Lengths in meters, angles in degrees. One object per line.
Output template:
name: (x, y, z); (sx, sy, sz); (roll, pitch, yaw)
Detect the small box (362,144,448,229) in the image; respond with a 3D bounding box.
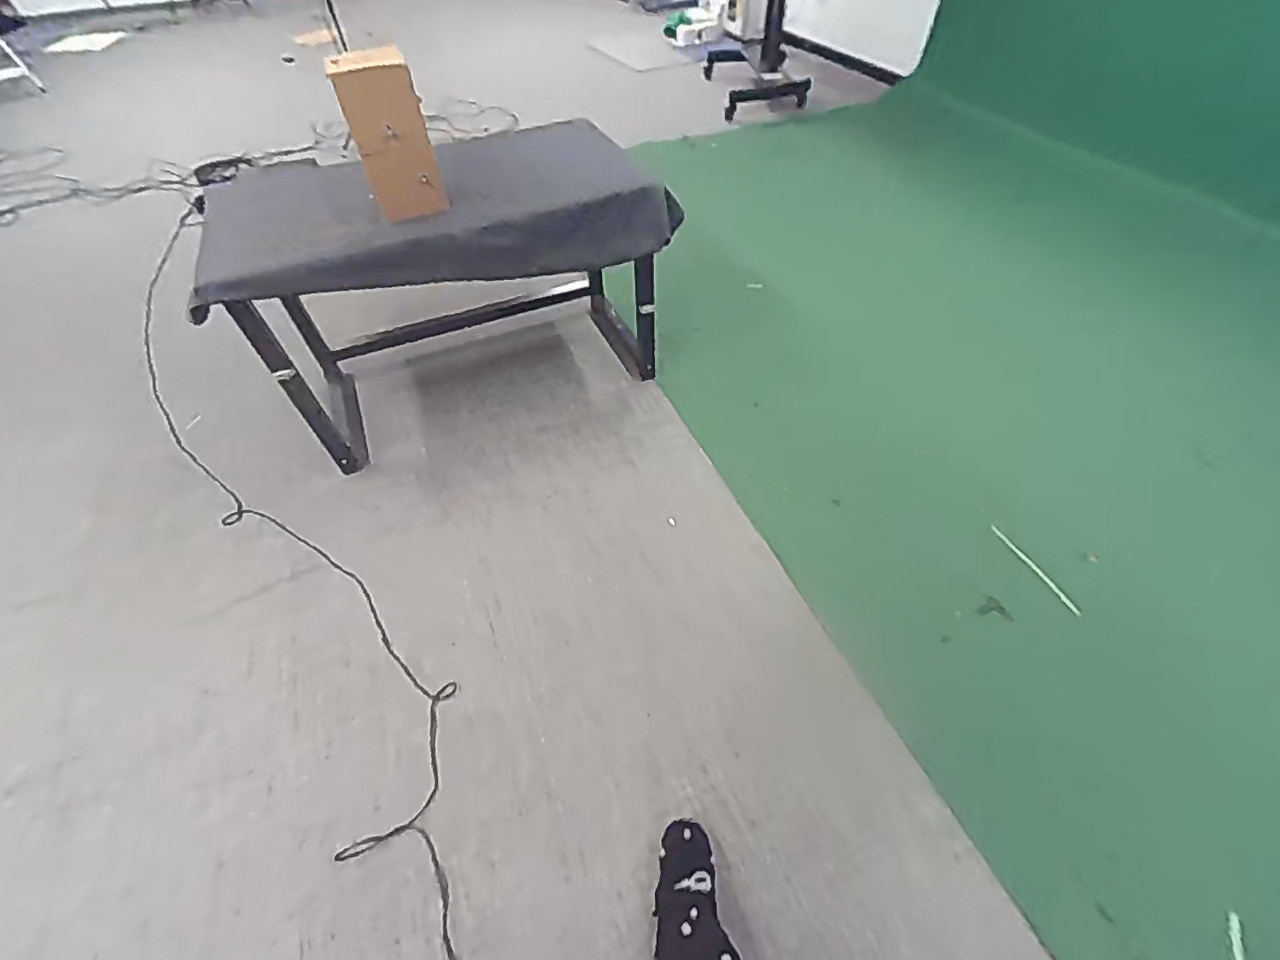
small box: (-0.631, -0.806, 1.456); (0.179, 0.176, 0.168); (-22, 51, -13)

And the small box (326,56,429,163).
small box: (-0.639, -0.910, 1.332); (0.179, 0.176, 0.168); (-22, 53, -15)
